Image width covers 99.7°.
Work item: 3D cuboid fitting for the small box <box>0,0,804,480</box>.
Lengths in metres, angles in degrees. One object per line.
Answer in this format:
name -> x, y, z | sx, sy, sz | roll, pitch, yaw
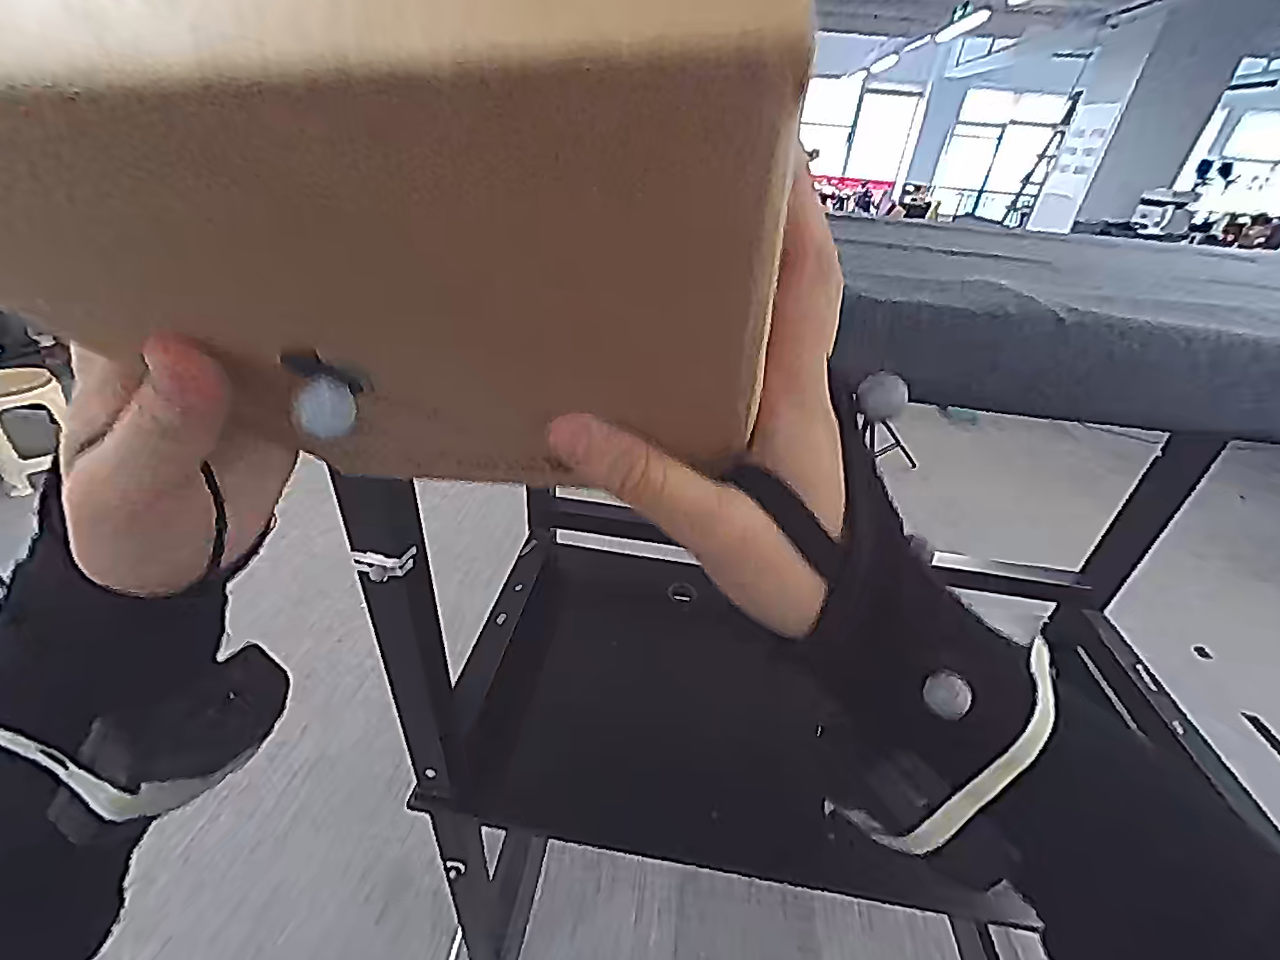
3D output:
small box -> -0.043, -0.106, 0.164 | 0.168, 0.176, 0.179 | 3, 72, 8
